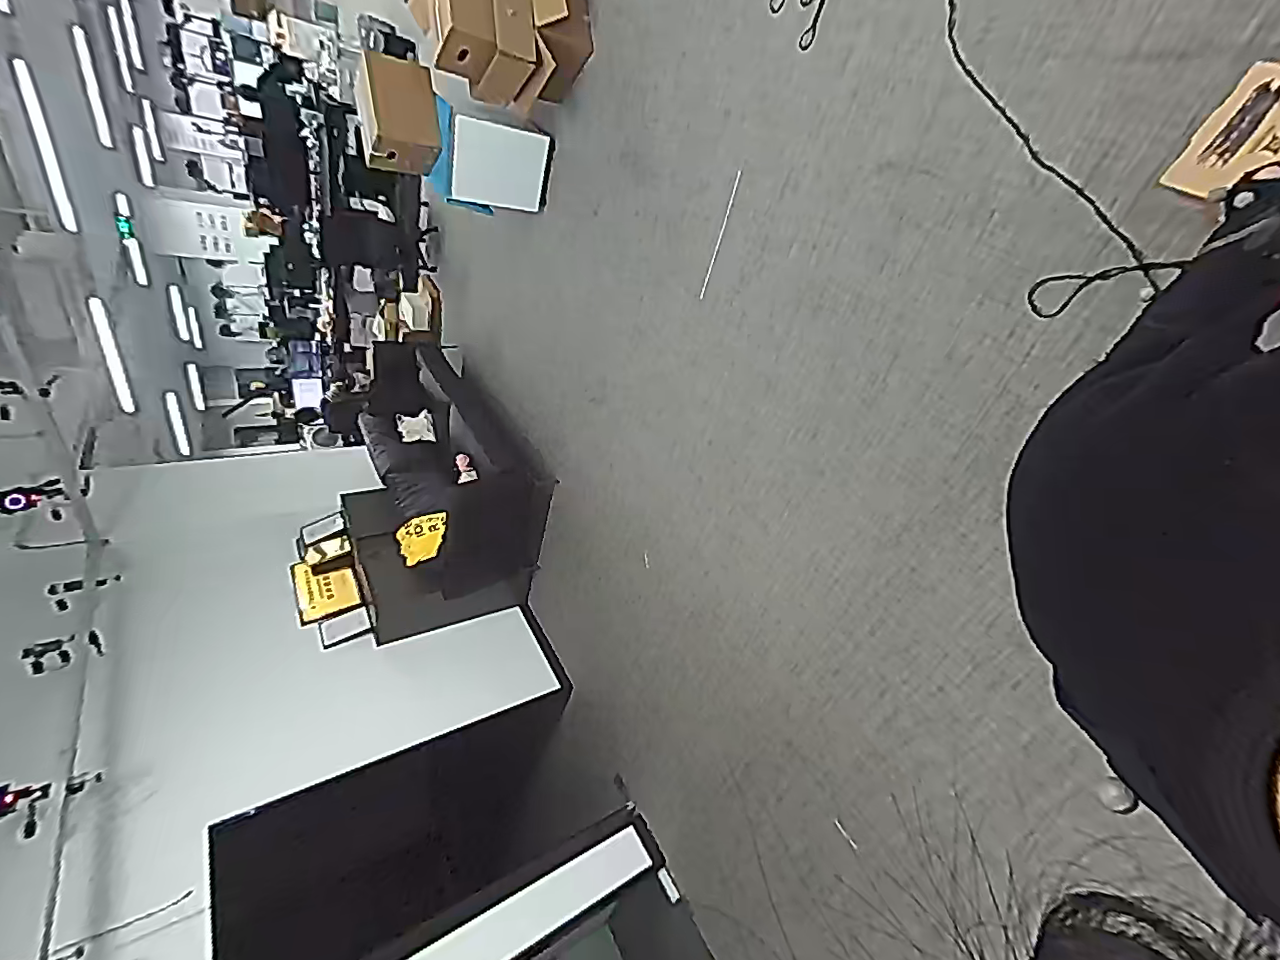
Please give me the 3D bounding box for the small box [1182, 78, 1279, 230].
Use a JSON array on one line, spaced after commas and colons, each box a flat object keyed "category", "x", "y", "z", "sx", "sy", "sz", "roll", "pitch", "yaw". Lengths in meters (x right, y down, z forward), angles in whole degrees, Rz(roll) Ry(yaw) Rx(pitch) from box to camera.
[{"category": "small box", "x": 1.093, "y": -0.534, "z": 0.907, "sx": 0.168, "sy": 0.176, "sz": 0.179, "roll": 52, "pitch": 138, "yaw": 34}]
